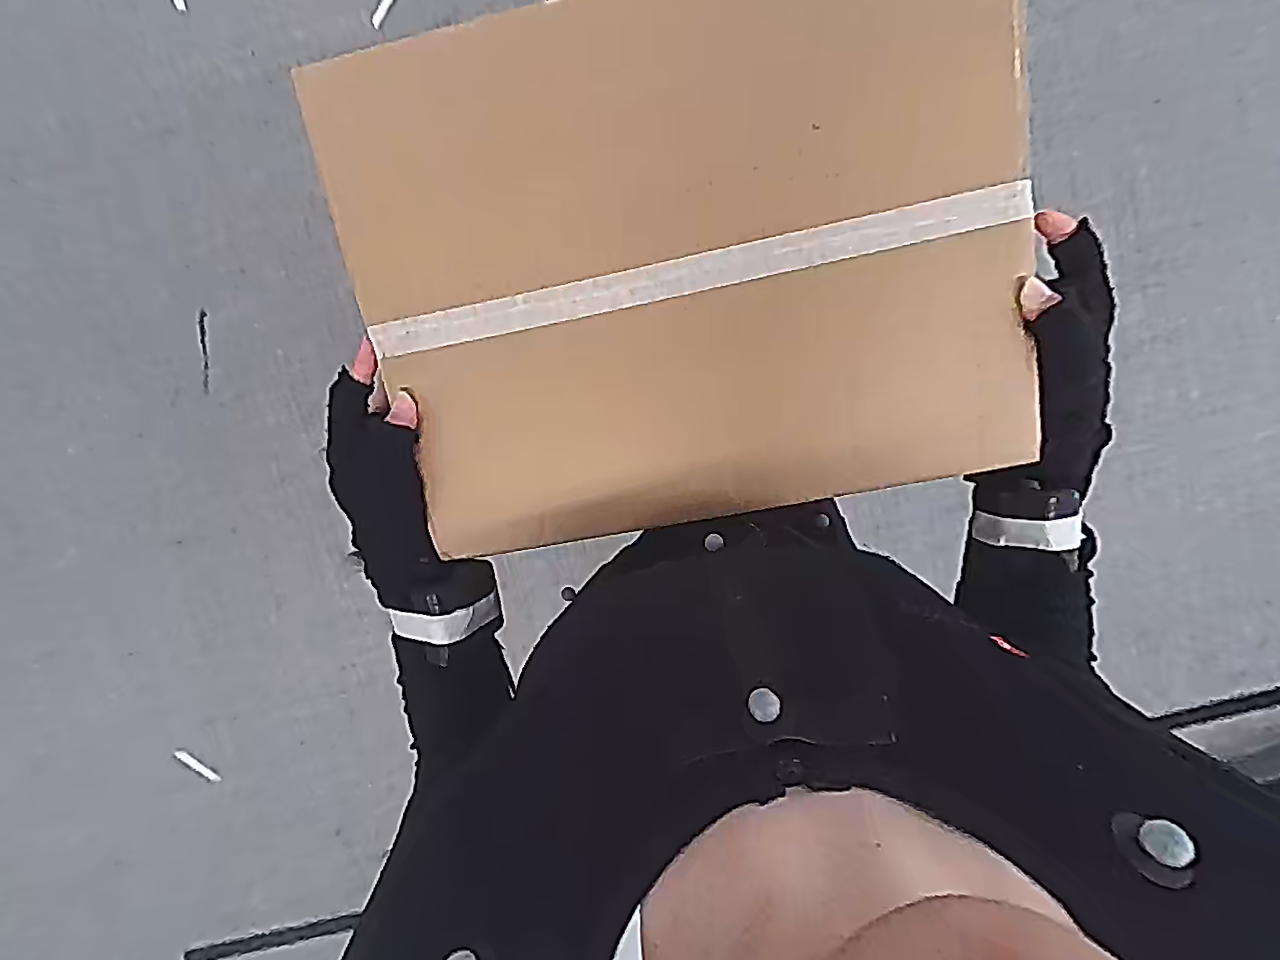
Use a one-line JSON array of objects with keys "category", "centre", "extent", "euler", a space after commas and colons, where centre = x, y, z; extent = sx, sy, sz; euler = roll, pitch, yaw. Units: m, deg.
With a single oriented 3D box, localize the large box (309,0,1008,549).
[{"category": "large box", "centre": [0.030, -0.168, 0.486], "extent": [0.408, 0.320, 0.320], "euler": [-10, 103, 5]}]
